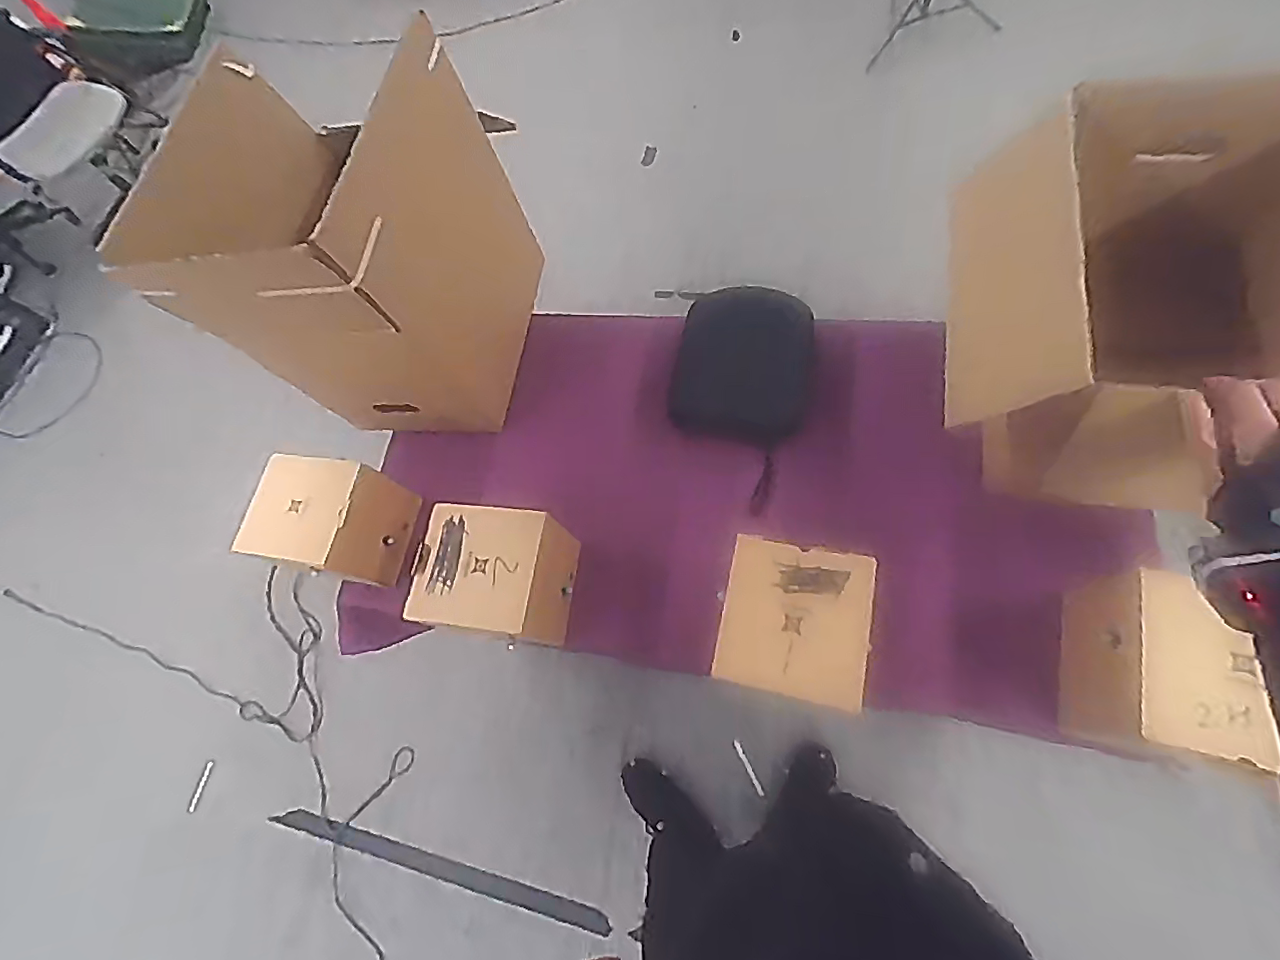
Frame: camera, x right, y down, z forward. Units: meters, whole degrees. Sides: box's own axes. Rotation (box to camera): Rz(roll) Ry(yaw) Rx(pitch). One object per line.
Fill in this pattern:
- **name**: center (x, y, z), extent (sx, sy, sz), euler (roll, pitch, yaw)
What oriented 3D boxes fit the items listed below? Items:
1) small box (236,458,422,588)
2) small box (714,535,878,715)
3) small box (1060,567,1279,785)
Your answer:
- **small box**: center (-0.503, 0.077, 0.899), extent (0.179, 0.176, 0.168), euler (5, 70, 13)
- **small box**: center (0.197, 0.189, 0.699), extent (0.168, 0.176, 0.179), euler (9, 72, 16)
- **small box**: center (0.599, 0.215, 0.597), extent (0.168, 0.176, 0.179), euler (11, 71, 18)
